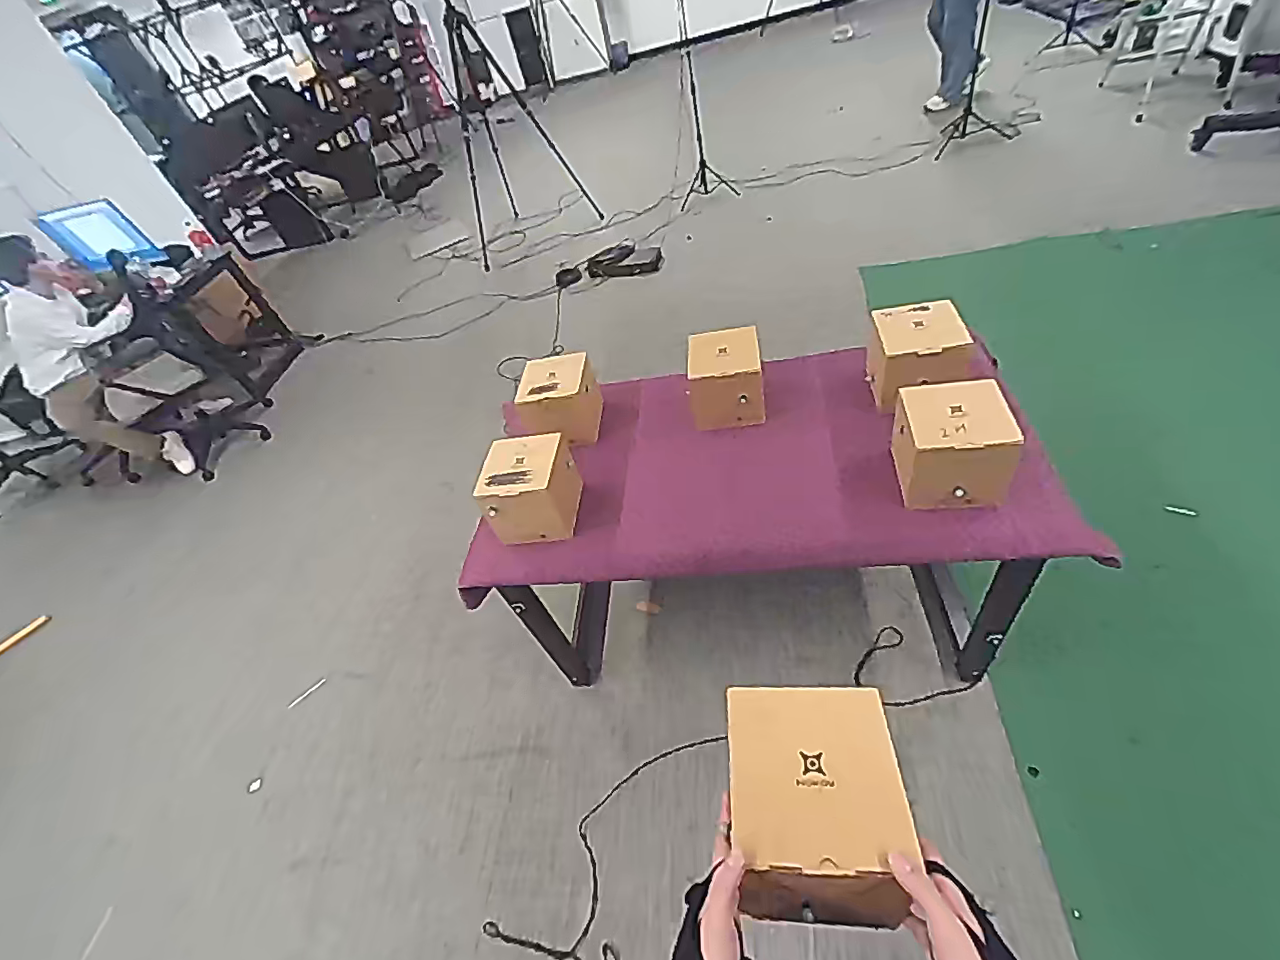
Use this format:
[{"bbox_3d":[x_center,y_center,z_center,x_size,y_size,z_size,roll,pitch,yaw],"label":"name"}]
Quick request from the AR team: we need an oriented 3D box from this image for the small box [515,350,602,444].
[{"bbox_3d":[-0.203,-0.207,1.403,0.168,0.176,0.179,-7,47,12],"label":"small box"}]

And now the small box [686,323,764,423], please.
[{"bbox_3d":[0.209,-0.252,1.314,0.168,0.176,0.179,-6,47,12],"label":"small box"}]

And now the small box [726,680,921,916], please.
[{"bbox_3d":[0.180,0.342,0.591,0.168,0.176,0.179,-4,40,9],"label":"small box"}]

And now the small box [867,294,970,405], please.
[{"bbox_3d":[0.611,-0.282,1.209,0.168,0.176,0.179,-5,49,14],"label":"small box"}]

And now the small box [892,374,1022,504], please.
[{"bbox_3d":[0.583,-0.074,1.022,0.168,0.176,0.179,-4,47,16],"label":"small box"}]
